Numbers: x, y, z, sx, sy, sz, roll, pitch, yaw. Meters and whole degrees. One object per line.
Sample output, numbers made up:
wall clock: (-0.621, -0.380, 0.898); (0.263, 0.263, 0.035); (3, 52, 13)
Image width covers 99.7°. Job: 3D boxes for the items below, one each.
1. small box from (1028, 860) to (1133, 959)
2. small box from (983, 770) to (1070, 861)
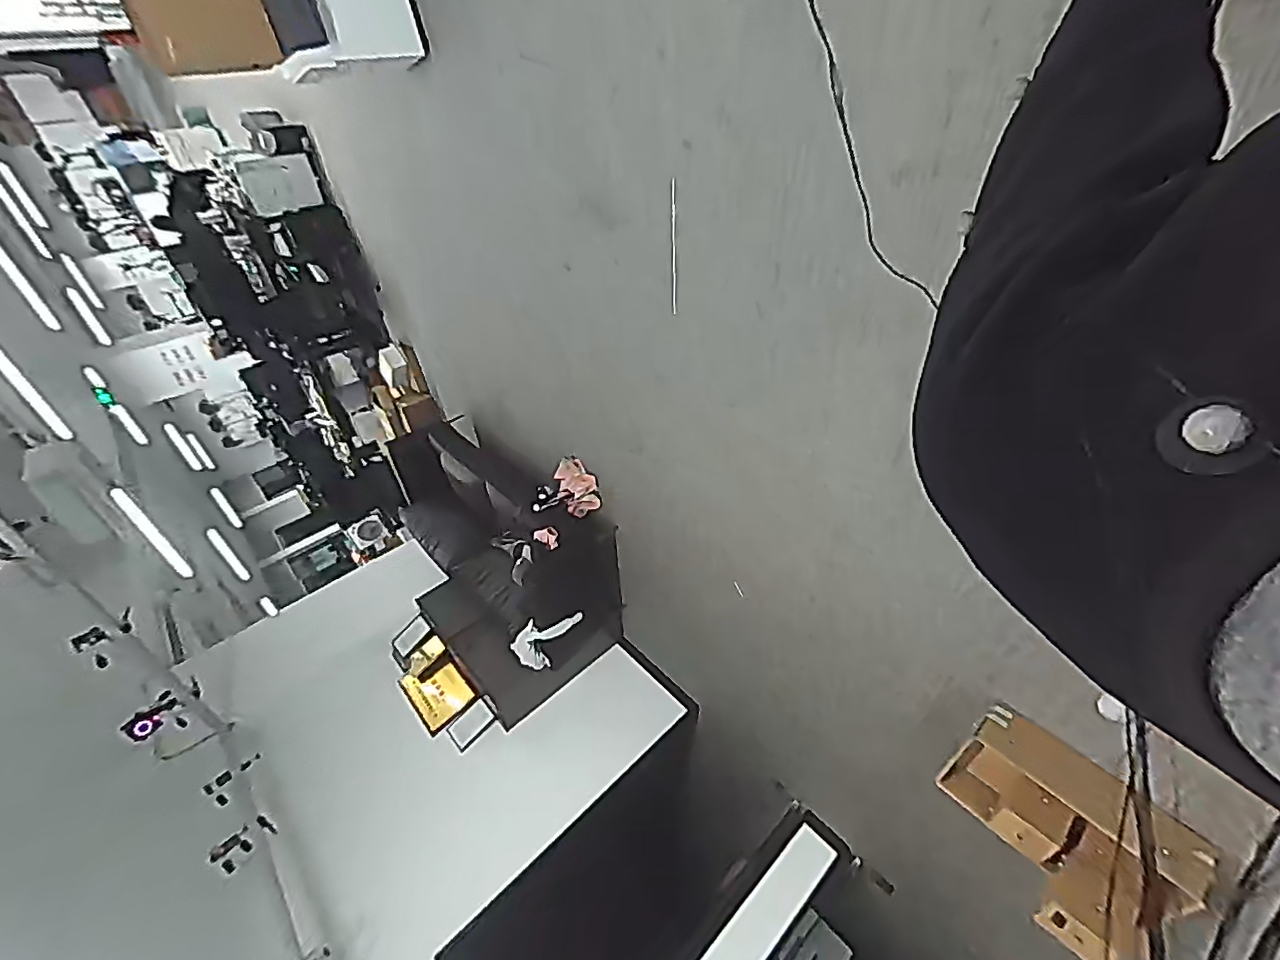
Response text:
small box: (1.327, 1.295, 1.632); (0.179, 0.176, 0.168); (32, 140, 38)
small box: (1.315, 1.137, 1.838); (0.168, 0.176, 0.179); (34, 141, 34)
